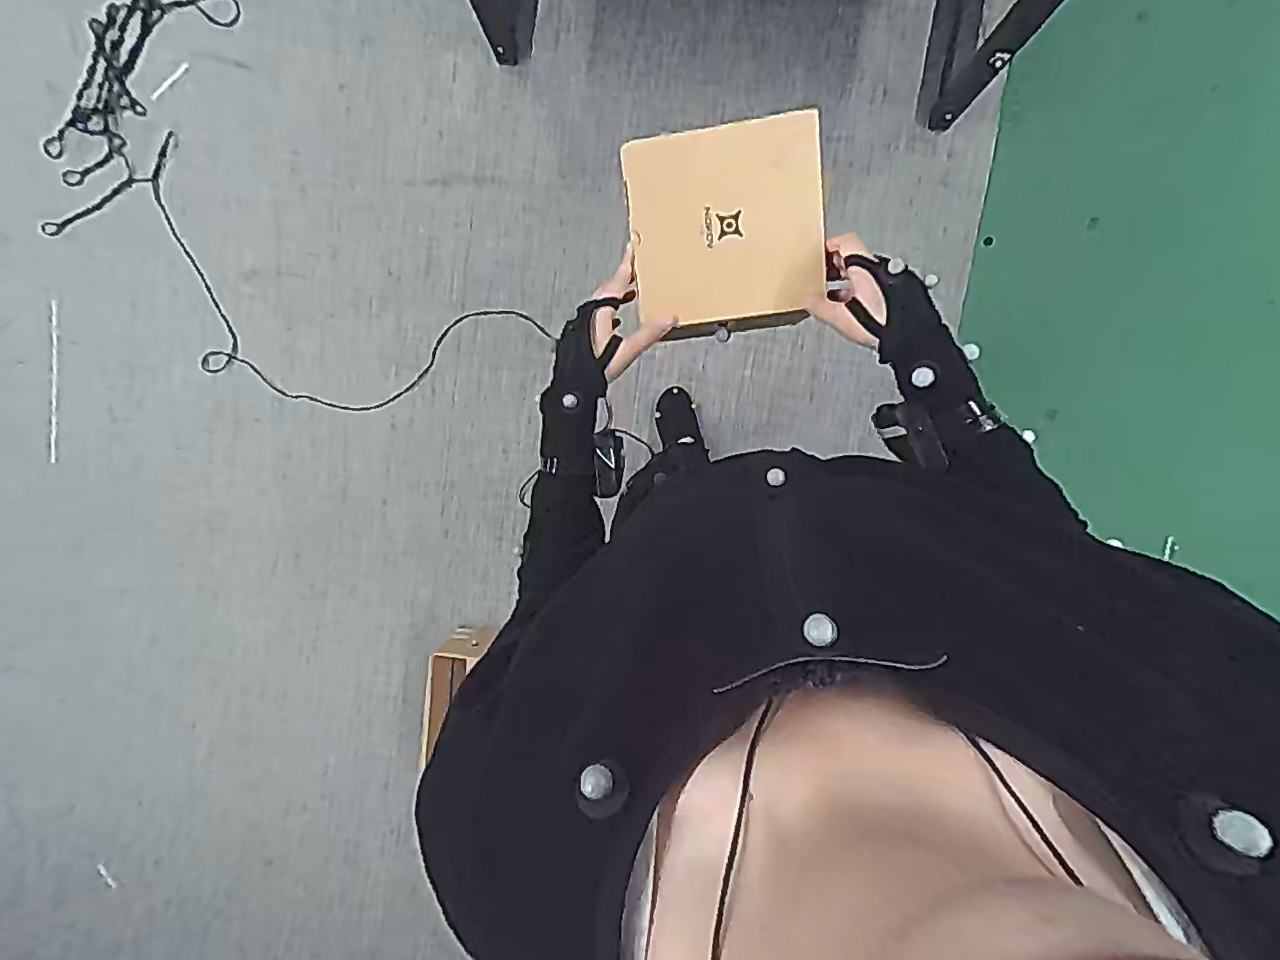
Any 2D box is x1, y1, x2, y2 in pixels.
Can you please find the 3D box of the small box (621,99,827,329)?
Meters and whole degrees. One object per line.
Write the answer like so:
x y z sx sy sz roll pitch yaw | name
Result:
0.087 -0.255 0.564 0.179 0.176 0.168 -5 101 10 | small box
